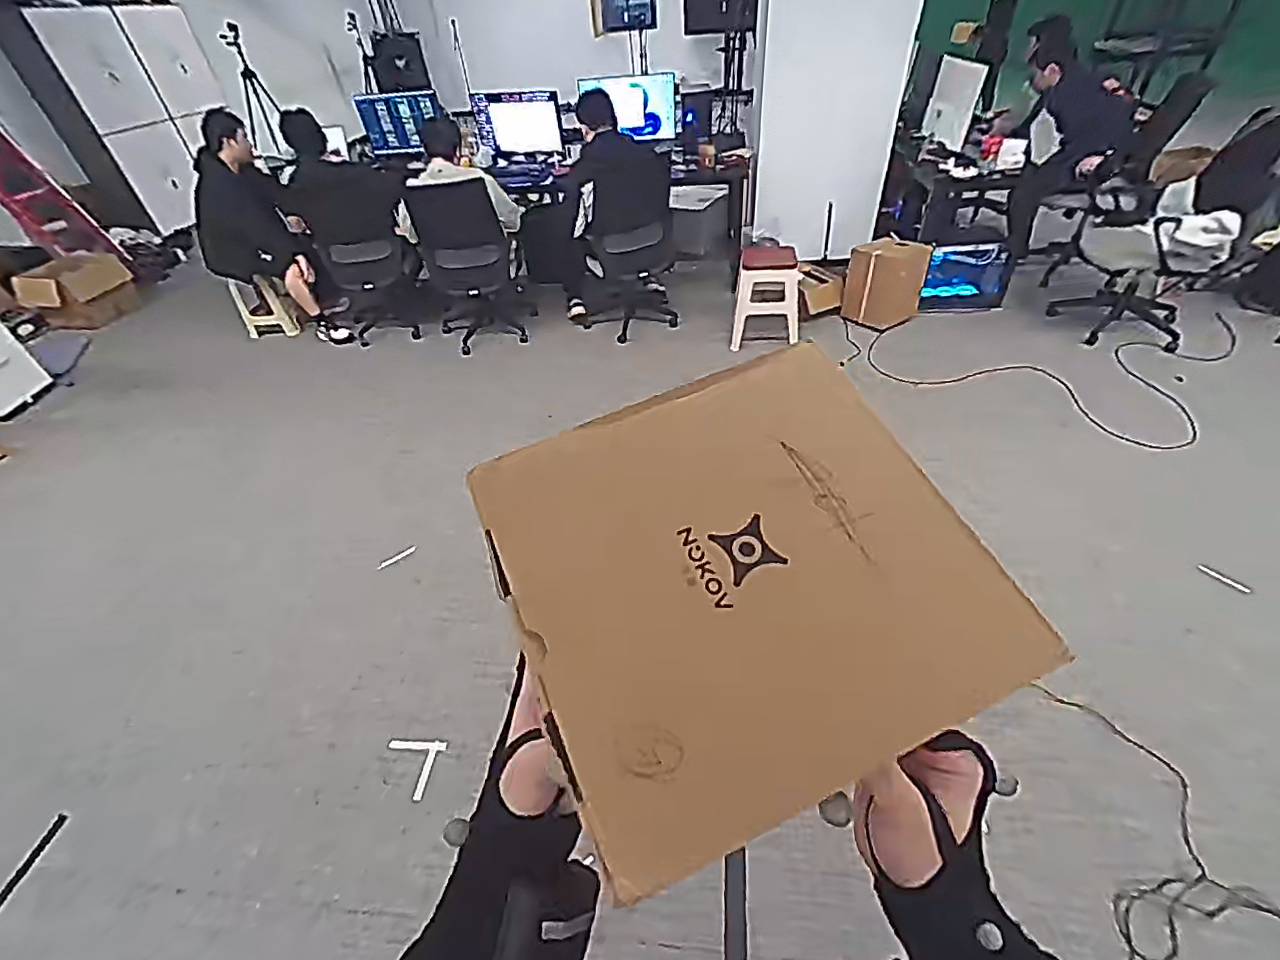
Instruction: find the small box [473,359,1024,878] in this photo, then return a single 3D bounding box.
[{"bbox_3d":[0.037,0.073,0.292,0.179,0.176,0.168,-23,63,-10],"label":"small box"}]
